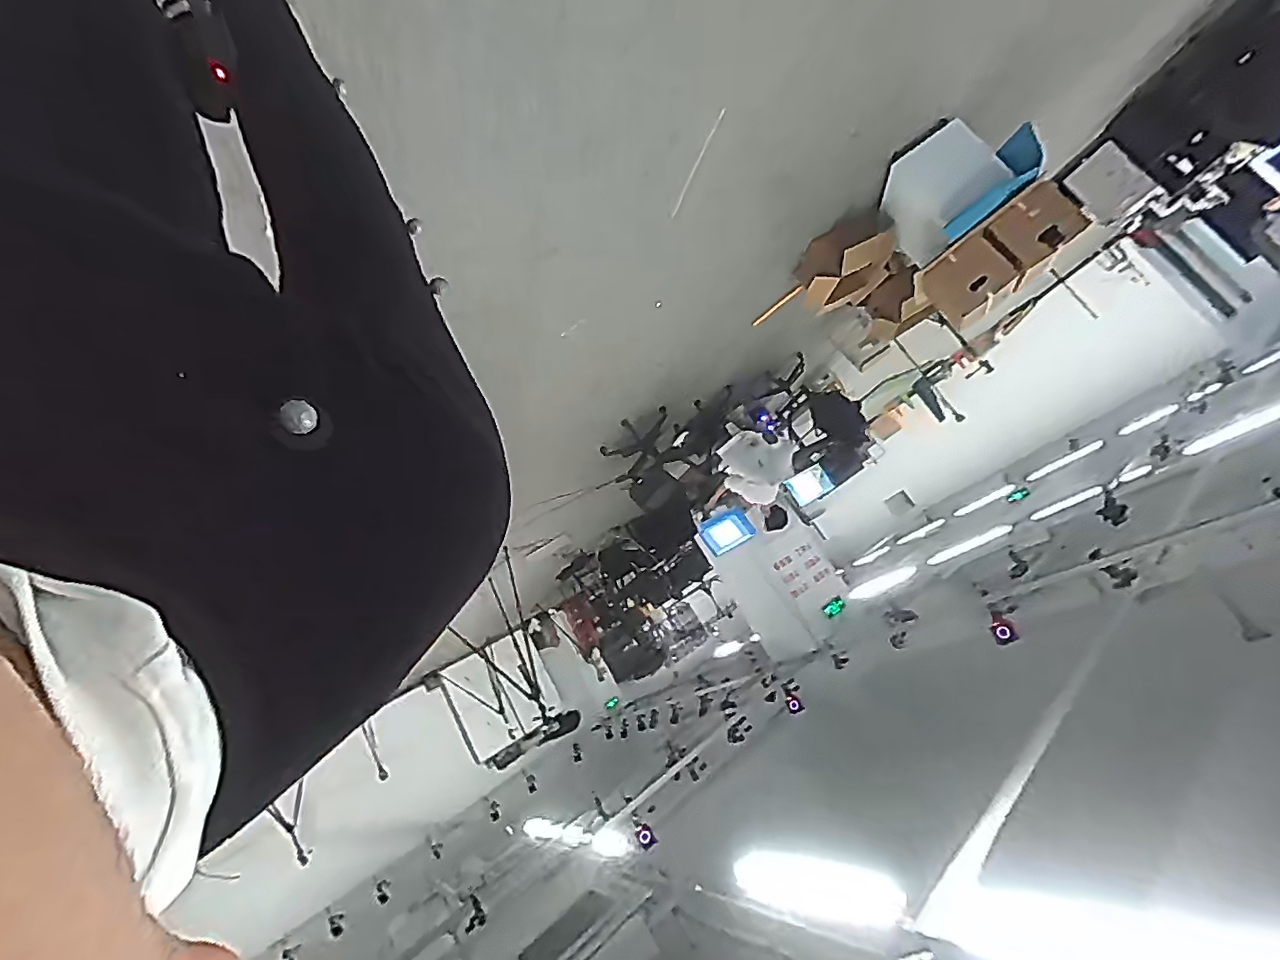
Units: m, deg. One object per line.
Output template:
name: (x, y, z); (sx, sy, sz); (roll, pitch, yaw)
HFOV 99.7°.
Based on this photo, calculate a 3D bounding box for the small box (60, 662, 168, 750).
small box: (-1.508, 0.648, 1.556); (0.168, 0.176, 0.179); (-23, 165, -36)

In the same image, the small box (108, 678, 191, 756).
small box: (-1.611, 0.772, 1.763); (0.168, 0.176, 0.179); (-23, 163, -34)
